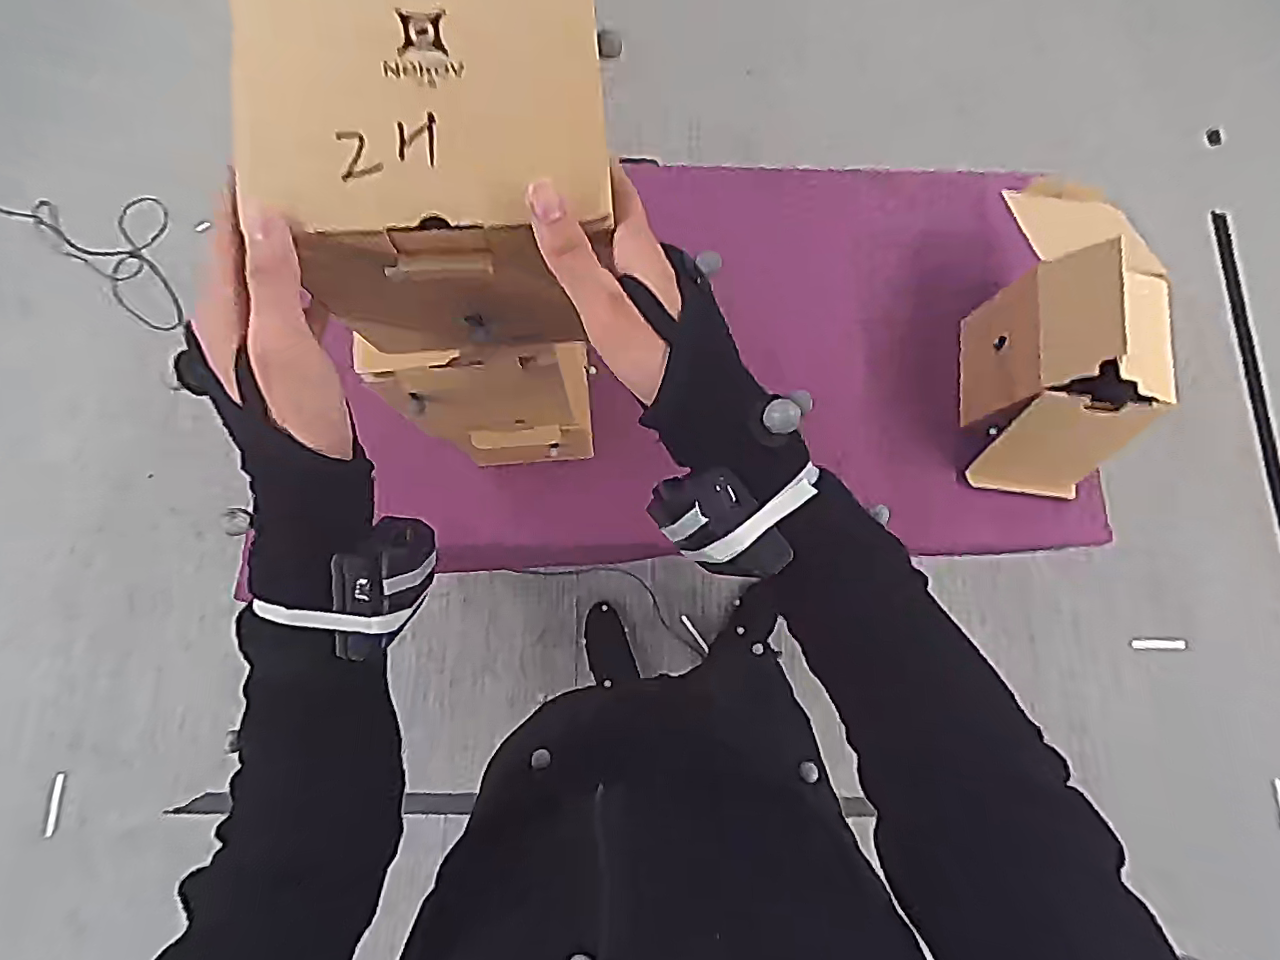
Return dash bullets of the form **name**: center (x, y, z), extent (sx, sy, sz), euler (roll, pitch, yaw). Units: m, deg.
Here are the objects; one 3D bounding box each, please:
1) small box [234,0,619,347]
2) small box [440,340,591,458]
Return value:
- **small box**: center (-0.105, -0.193, 0.326), extent (0.168, 0.176, 0.179), euler (-4, 87, -6)
- **small box**: center (-0.154, -0.128, 0.709), extent (0.168, 0.176, 0.179), euler (-3, 80, -3)
